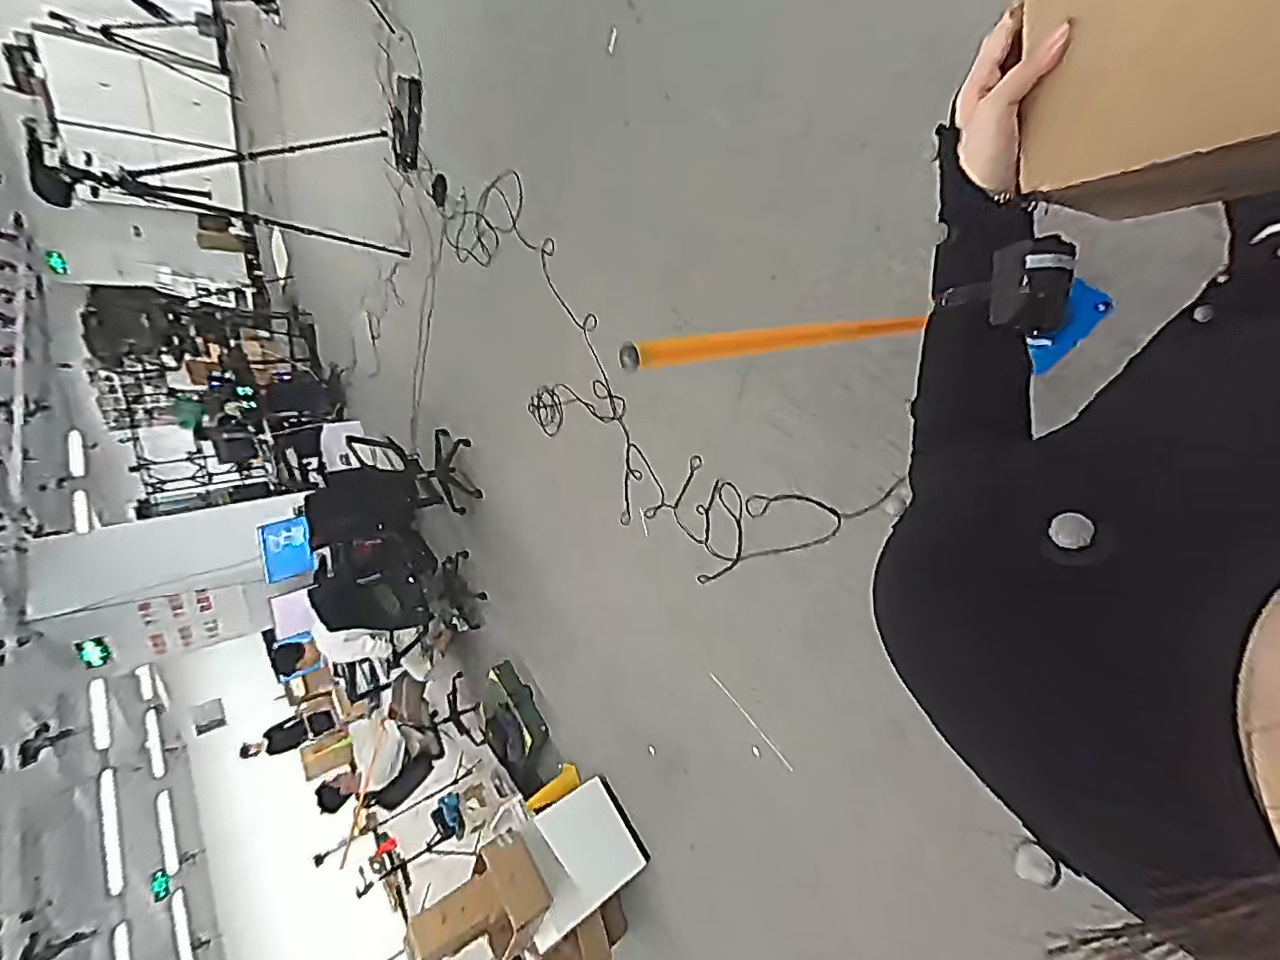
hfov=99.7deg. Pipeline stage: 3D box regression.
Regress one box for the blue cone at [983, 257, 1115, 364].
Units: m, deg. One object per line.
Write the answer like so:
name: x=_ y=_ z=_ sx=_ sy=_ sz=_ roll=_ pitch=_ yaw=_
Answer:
blue cone: x=0.780 y=-0.347 z=1.107 sx=0.193 sy=0.380 sz=0.192 roll=54 pitch=135 yaw=25

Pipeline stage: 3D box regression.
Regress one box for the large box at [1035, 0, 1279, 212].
large box: x=0.516 y=-0.393 z=0.323 sx=0.408 sy=0.320 sz=0.320 roll=6 pitch=109 yaw=48
